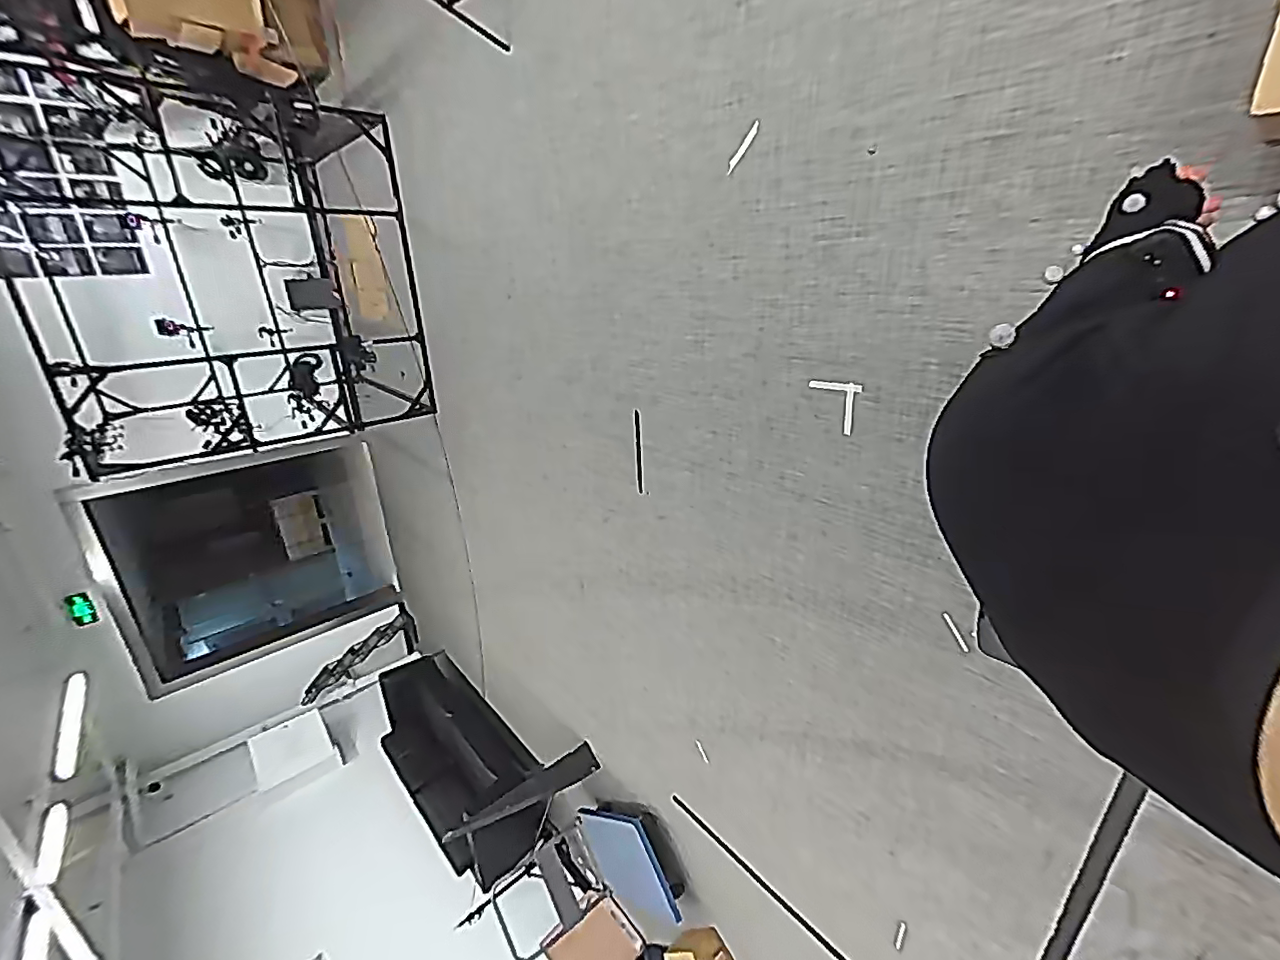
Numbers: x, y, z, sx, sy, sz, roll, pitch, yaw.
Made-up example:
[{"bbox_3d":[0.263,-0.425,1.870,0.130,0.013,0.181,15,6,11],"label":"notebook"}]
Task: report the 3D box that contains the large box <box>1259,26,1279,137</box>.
[{"bbox_3d":[1.074,-0.642,0.638,0.408,0.320,0.320,19,120,44],"label":"large box"}]
